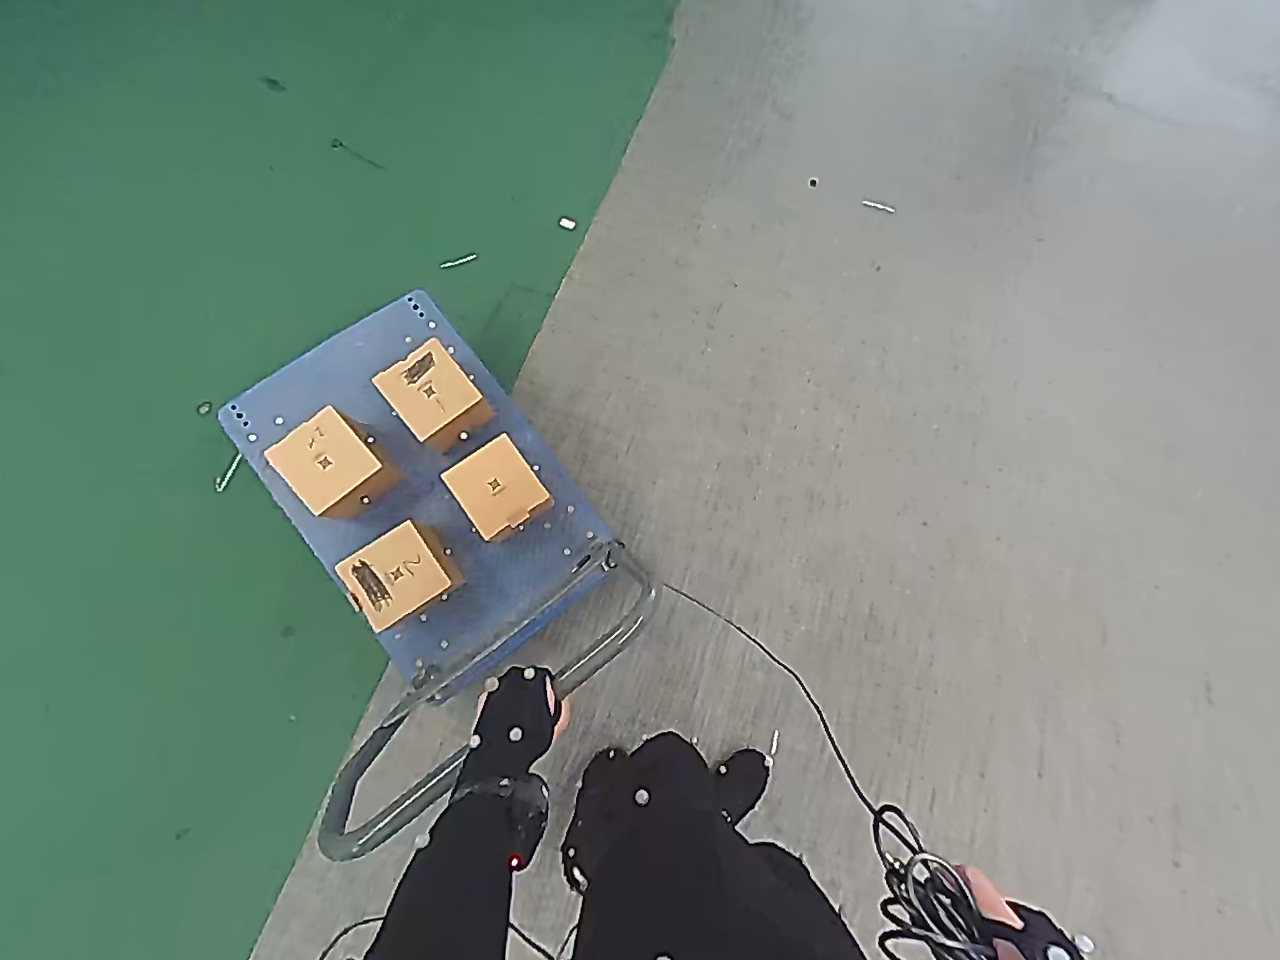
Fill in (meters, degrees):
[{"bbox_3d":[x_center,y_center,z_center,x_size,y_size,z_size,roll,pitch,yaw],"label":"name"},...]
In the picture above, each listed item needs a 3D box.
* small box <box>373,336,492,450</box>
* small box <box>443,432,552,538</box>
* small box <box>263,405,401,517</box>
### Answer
[{"bbox_3d":[-0.464,-0.190,1.237,0.168,0.176,0.179,-39,90,-10],"label":"small box"},{"bbox_3d":[-0.316,0.020,1.230,0.168,0.176,0.179,-35,89,-10],"label":"small box"},{"bbox_3d":[-0.663,-0.033,1.191,0.168,0.176,0.179,-40,89,-11],"label":"small box"}]
